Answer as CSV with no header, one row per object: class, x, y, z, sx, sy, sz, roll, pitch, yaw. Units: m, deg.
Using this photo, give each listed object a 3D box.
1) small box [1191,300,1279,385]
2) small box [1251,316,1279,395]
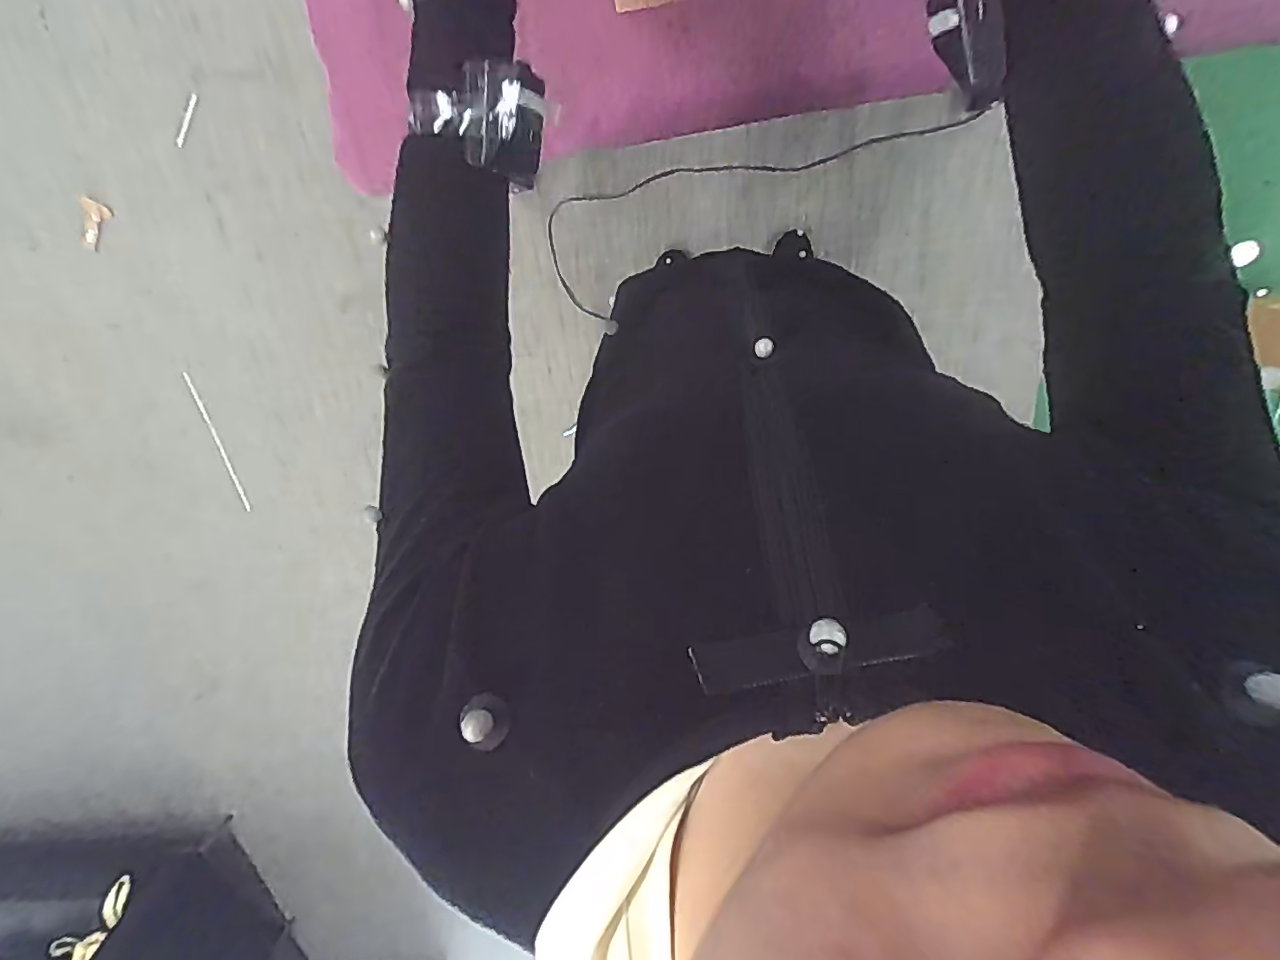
small box,1.564,-0.350,1.365,0.168,0.176,0.179,-5,112,6
small box,1.558,-0.281,1.218,0.168,0.176,0.179,-7,110,7
